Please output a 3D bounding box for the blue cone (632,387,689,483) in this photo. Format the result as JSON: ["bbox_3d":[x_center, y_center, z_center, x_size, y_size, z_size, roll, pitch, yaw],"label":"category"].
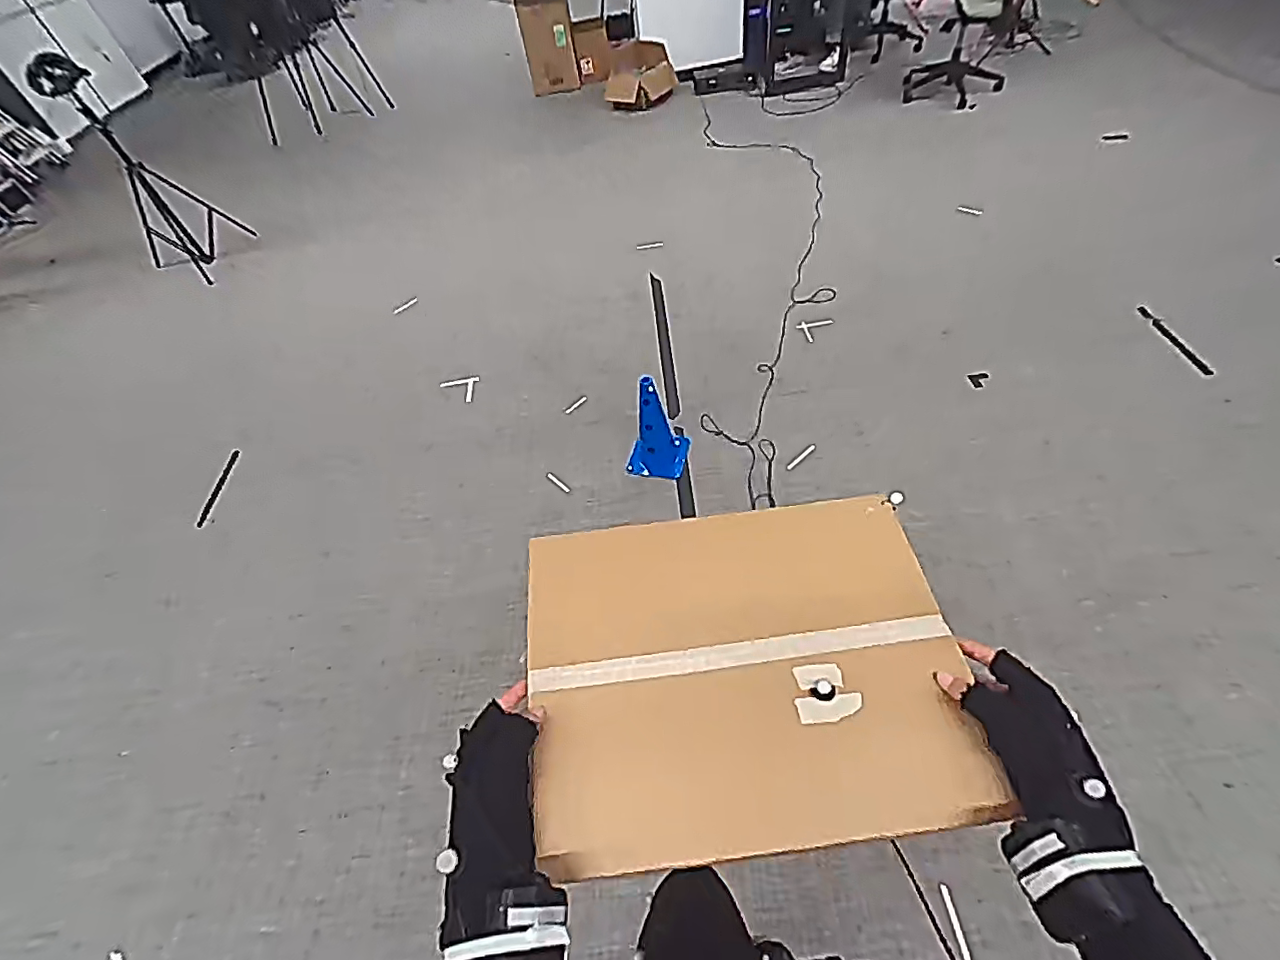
[{"bbox_3d":[0.051,-0.174,1.841,0.193,0.380,0.192,8,54,17],"label":"blue cone"}]

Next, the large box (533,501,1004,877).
[{"bbox_3d":[0.100,0.261,0.653,0.408,0.320,0.320,-7,54,-1],"label":"large box"}]
